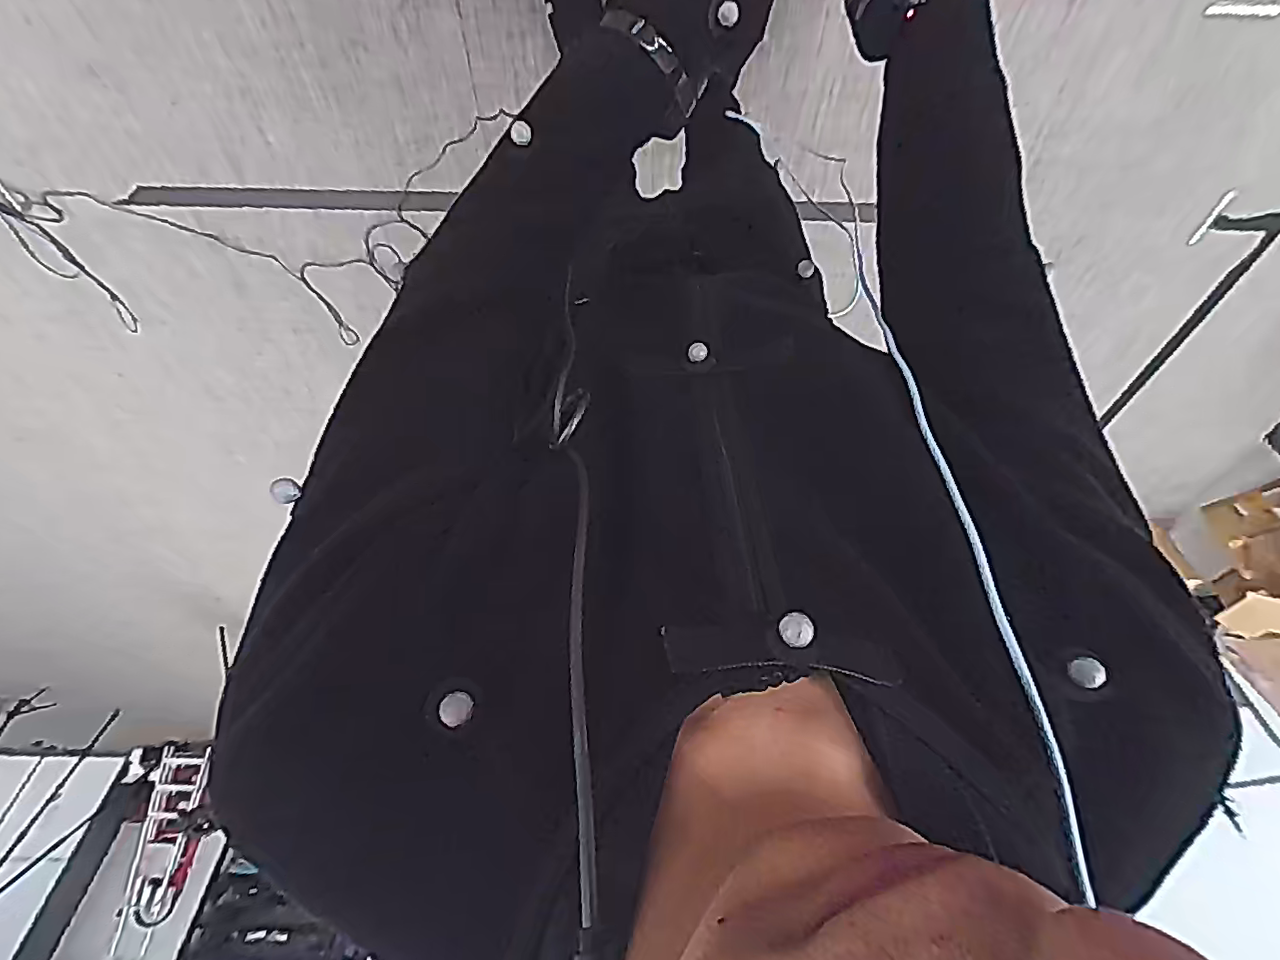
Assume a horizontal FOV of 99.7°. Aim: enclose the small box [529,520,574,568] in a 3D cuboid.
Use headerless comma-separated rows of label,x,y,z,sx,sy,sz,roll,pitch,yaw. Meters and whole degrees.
small box,-0.403,0.295,2.502,0.179,0.176,0.168,0,140,2
